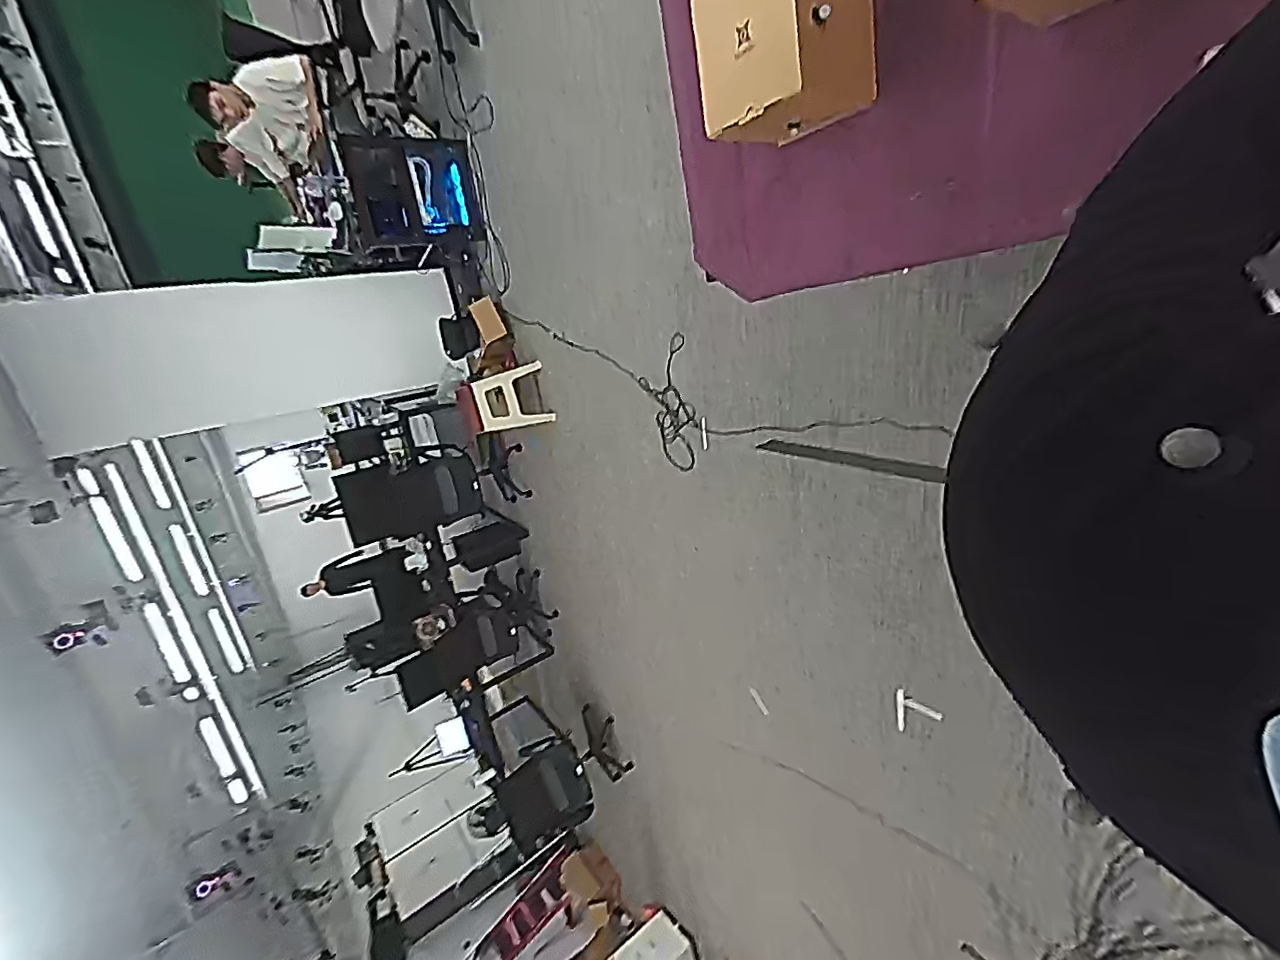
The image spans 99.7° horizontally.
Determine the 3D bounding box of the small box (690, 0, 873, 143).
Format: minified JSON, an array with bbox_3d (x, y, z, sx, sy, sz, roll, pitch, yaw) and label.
[{"bbox_3d":[0.193,-0.580,0.730,0.168,0.176,0.179,12,118,52],"label":"small box"}]
